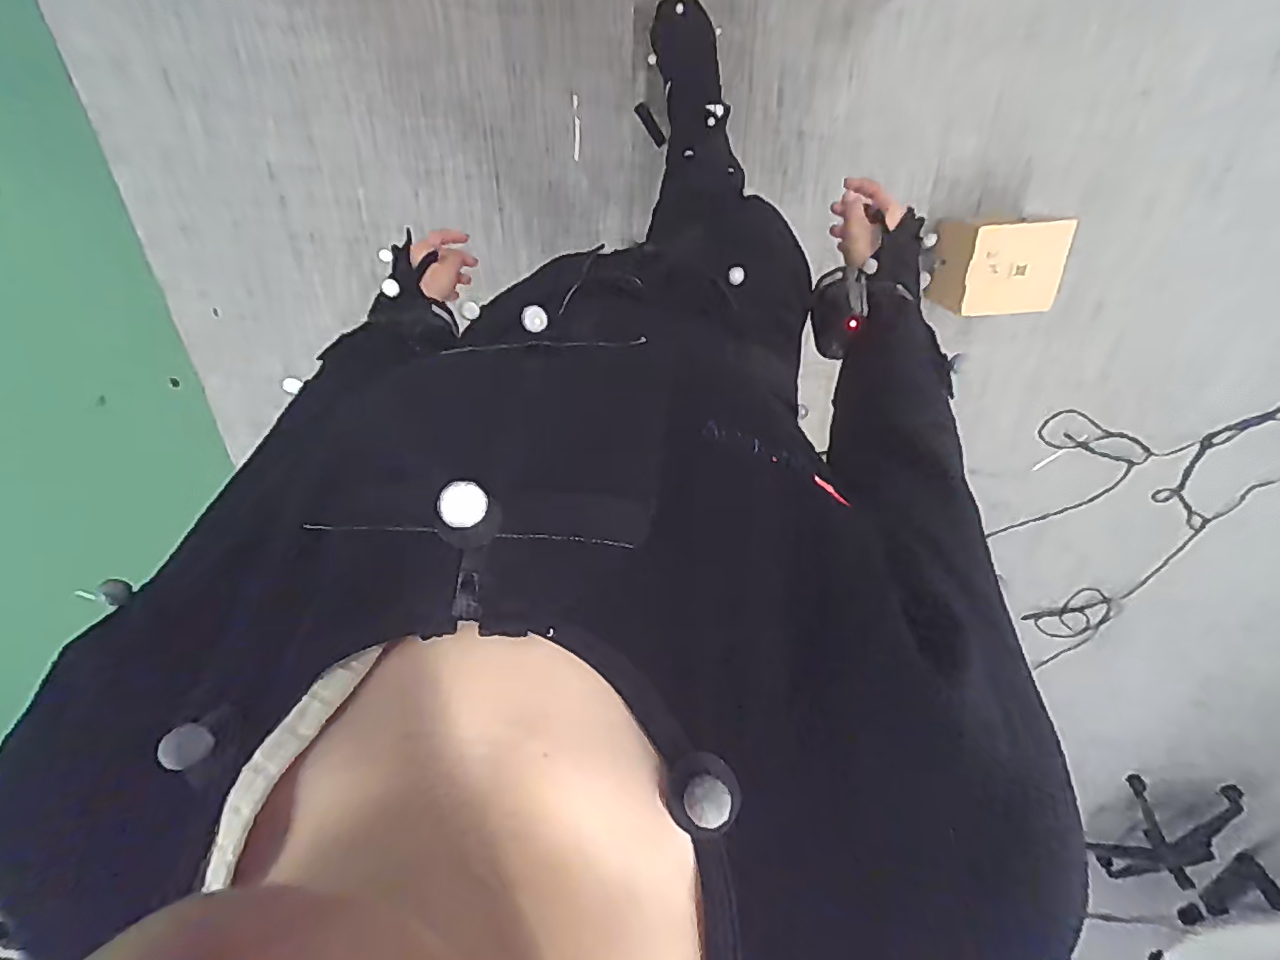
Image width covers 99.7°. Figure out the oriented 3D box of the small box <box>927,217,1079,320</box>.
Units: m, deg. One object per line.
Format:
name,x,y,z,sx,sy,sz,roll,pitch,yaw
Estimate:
small box,0.716,-0.429,1.090,0.179,0.176,0.168,-2,120,4
